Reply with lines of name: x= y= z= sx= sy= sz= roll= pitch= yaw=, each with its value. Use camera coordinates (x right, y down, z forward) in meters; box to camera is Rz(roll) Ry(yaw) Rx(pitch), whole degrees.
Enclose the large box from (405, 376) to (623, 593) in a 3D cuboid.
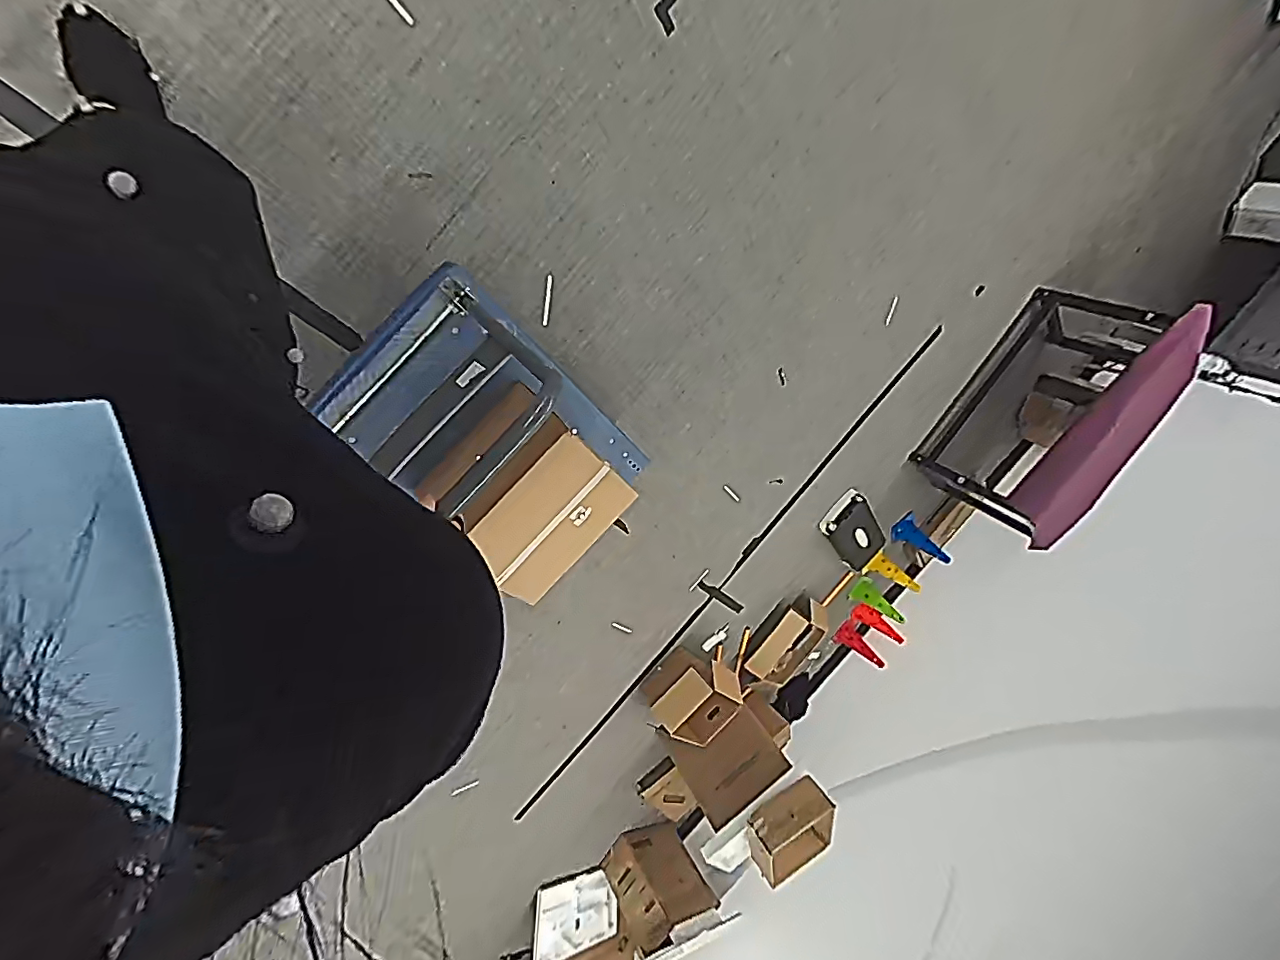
large box: x=-0.330 y=0.009 z=1.407 sx=0.408 sy=0.320 sz=0.320 roll=-47 pitch=136 yaw=-2
